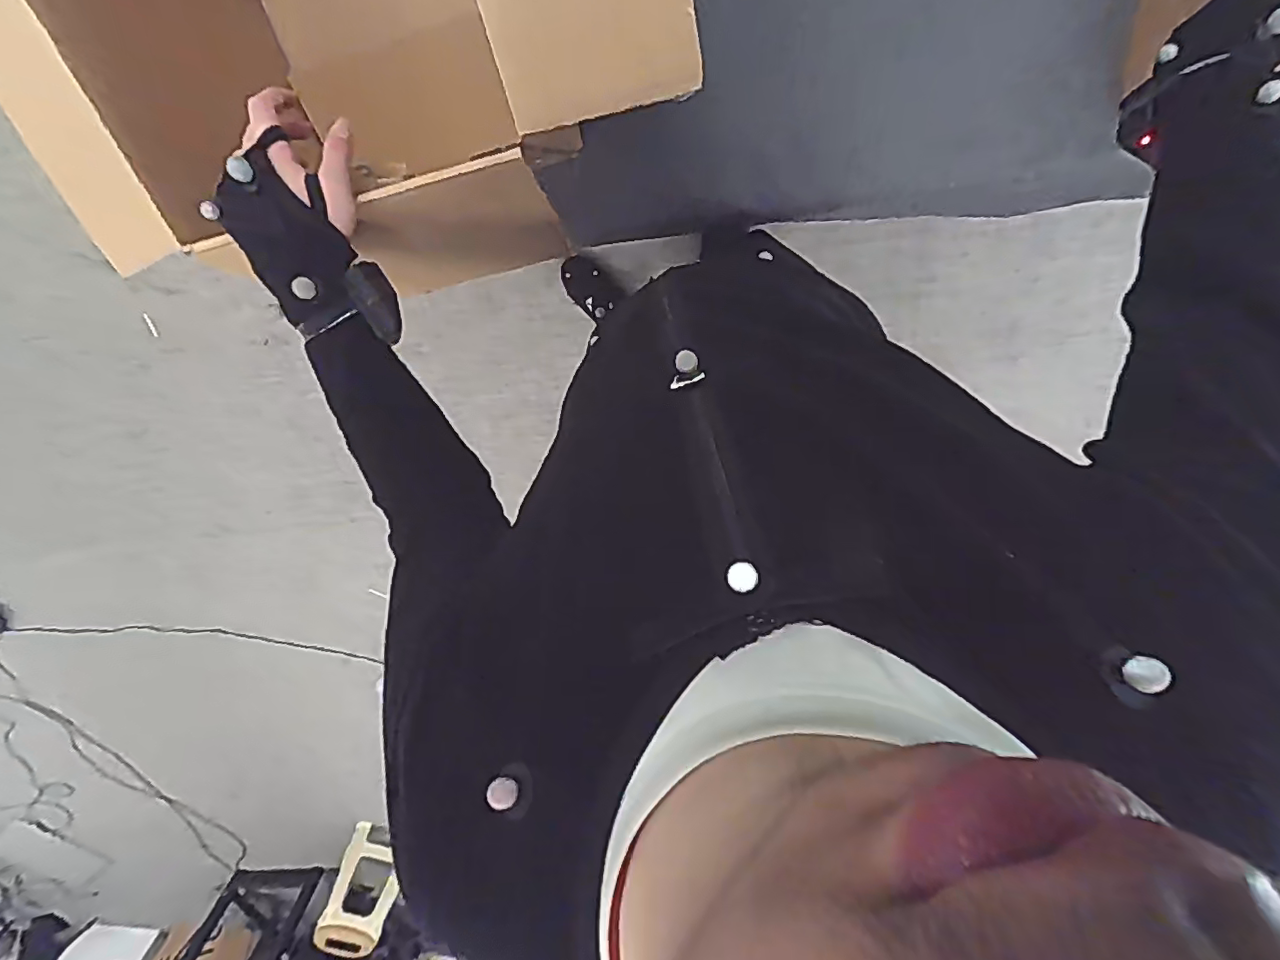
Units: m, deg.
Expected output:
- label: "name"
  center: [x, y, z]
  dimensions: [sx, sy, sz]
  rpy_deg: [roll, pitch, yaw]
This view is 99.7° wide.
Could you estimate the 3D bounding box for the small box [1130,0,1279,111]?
- label: "small box"
  center: [0.596, -0.450, 0.483]
  dimensions: [0.168, 0.176, 0.179]
  rpy_deg: [-7, 118, 10]
